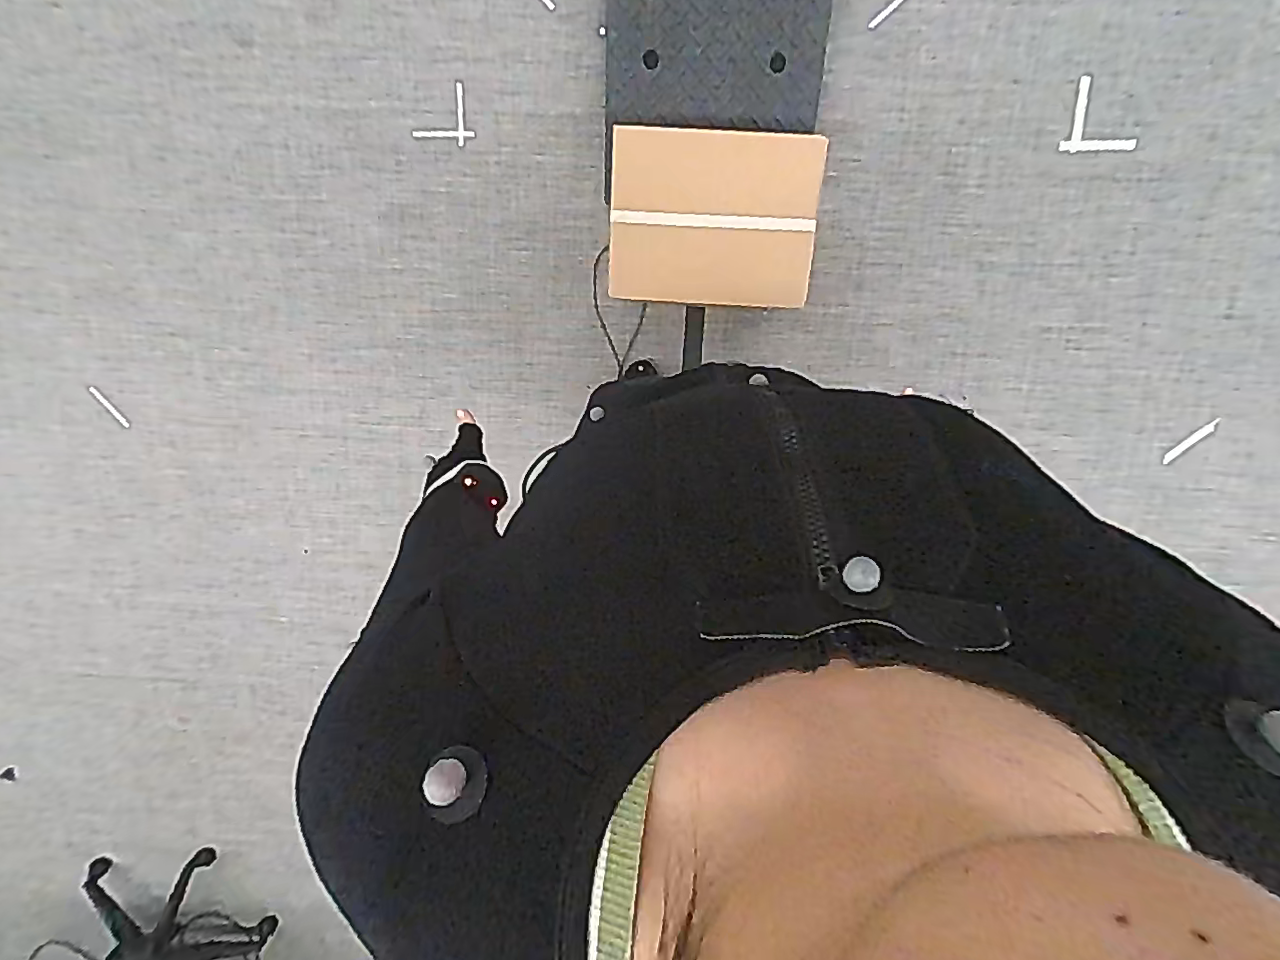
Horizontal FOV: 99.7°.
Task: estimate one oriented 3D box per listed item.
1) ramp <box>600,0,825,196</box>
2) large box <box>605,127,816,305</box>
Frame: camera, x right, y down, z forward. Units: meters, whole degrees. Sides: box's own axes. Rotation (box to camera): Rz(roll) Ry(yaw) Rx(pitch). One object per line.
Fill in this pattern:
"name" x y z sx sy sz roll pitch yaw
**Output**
"ramp" 0.164 -1.147 1.136 0.509 0.206 0.991 1 104 0
"large box" 0.137 -0.562 1.209 0.408 0.320 0.320 3 107 1
